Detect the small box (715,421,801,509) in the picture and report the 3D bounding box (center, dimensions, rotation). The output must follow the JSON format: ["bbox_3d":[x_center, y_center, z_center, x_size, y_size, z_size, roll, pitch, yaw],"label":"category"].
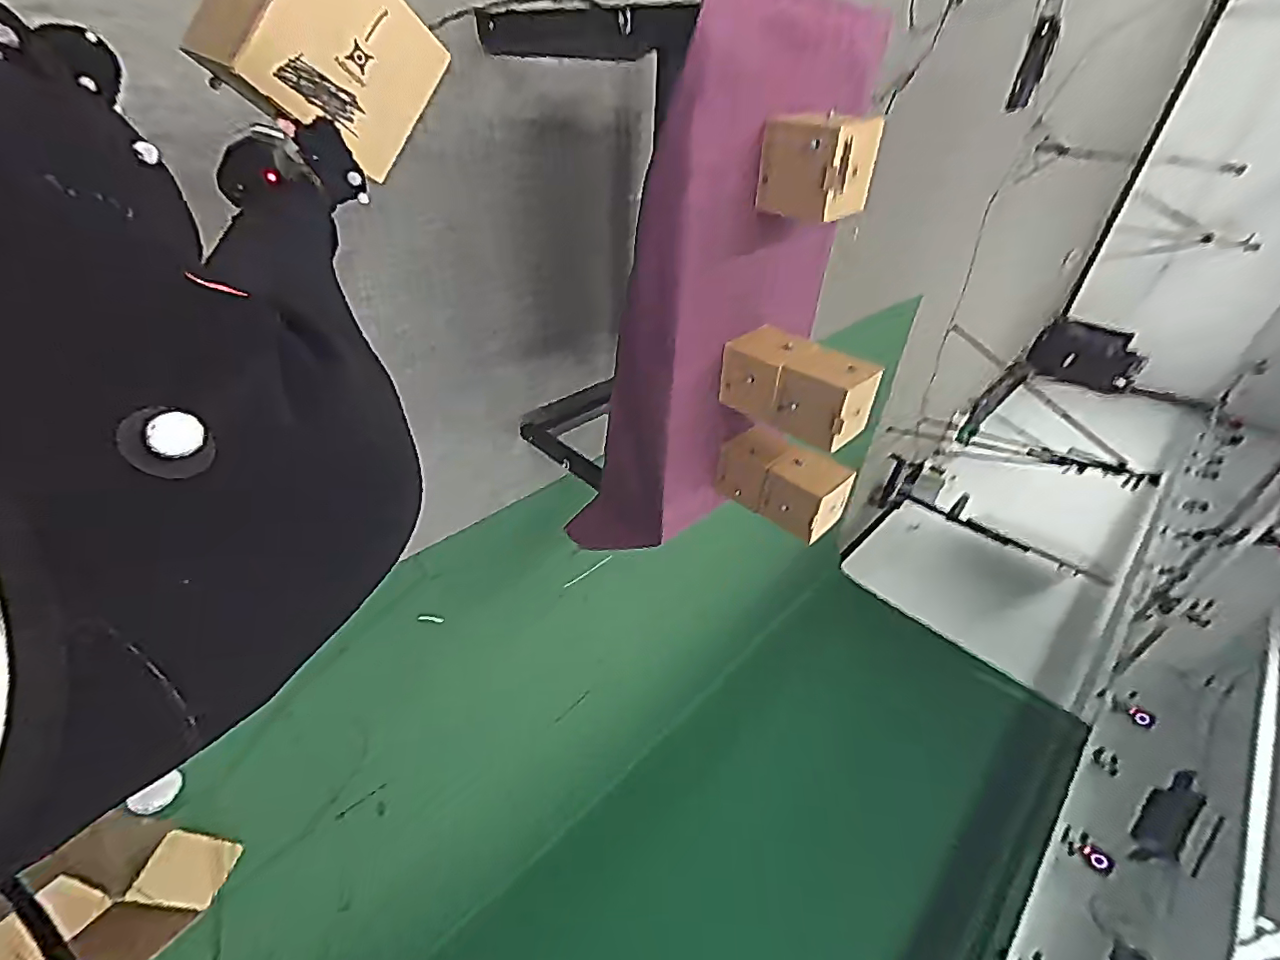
[{"bbox_3d":[0.342,-0.049,1.593,0.179,0.176,0.168,-29,138,-35],"label":"small box"}]

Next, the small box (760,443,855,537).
[{"bbox_3d":[0.456,0.022,1.497,0.179,0.176,0.168,-28,138,-34],"label":"small box"}]

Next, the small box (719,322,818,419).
[{"bbox_3d":[0.320,-0.283,1.375,0.179,0.176,0.168,-32,139,-33],"label":"small box"}]

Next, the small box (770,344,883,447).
[{"bbox_3d":[0.439,-0.209,1.289,0.179,0.176,0.168,-29,137,-35],"label":"small box"}]

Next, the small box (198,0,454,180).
[{"bbox_3d":[-0.358,-0.490,0.616,0.179,0.176,0.168,-58,152,4],"label":"small box"}]
